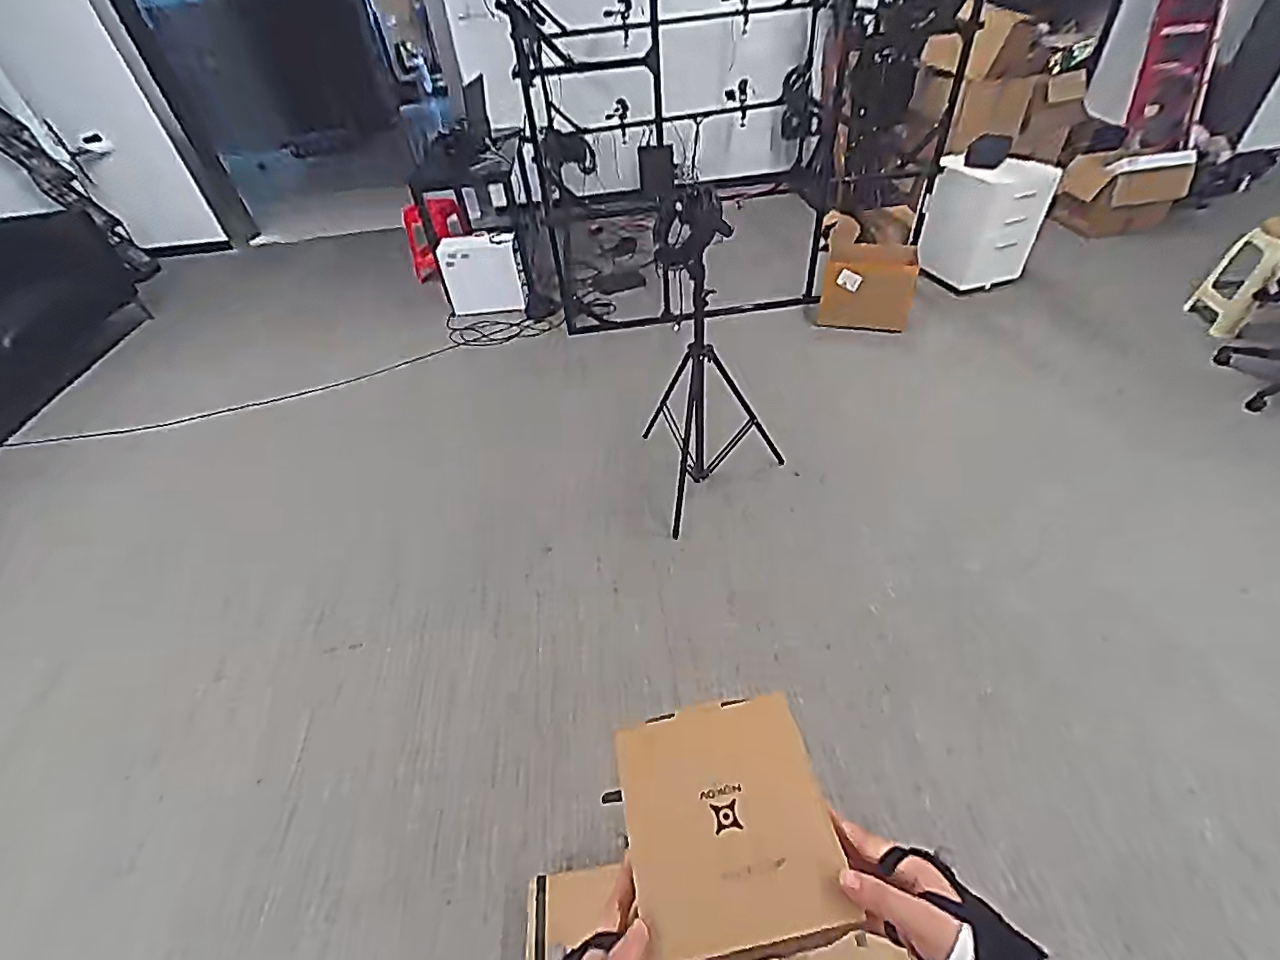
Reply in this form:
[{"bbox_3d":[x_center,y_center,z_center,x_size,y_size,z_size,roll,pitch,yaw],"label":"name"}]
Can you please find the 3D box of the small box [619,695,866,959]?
[{"bbox_3d":[0.078,0.332,0.502,0.168,0.176,0.179,-11,45,-3],"label":"small box"}]
